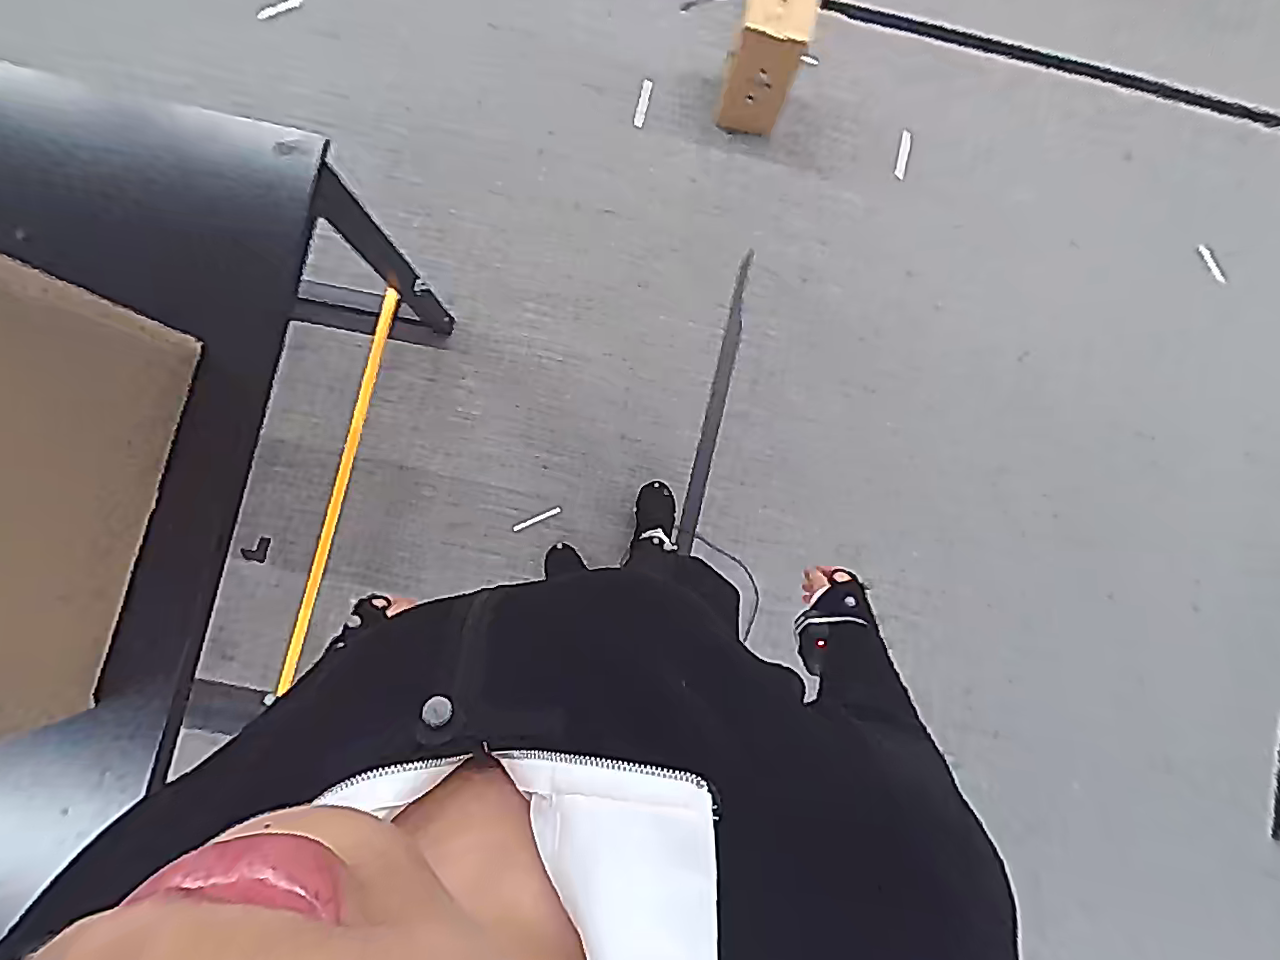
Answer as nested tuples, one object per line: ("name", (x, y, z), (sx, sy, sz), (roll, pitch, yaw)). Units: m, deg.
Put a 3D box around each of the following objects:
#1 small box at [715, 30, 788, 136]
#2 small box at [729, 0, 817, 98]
("small box", (0.319, -1.121, 1.540), (0.179, 0.176, 0.168), (9, 85, -3))
("small box", (0.334, -1.133, 1.376), (0.168, 0.176, 0.179), (13, 85, -2))
